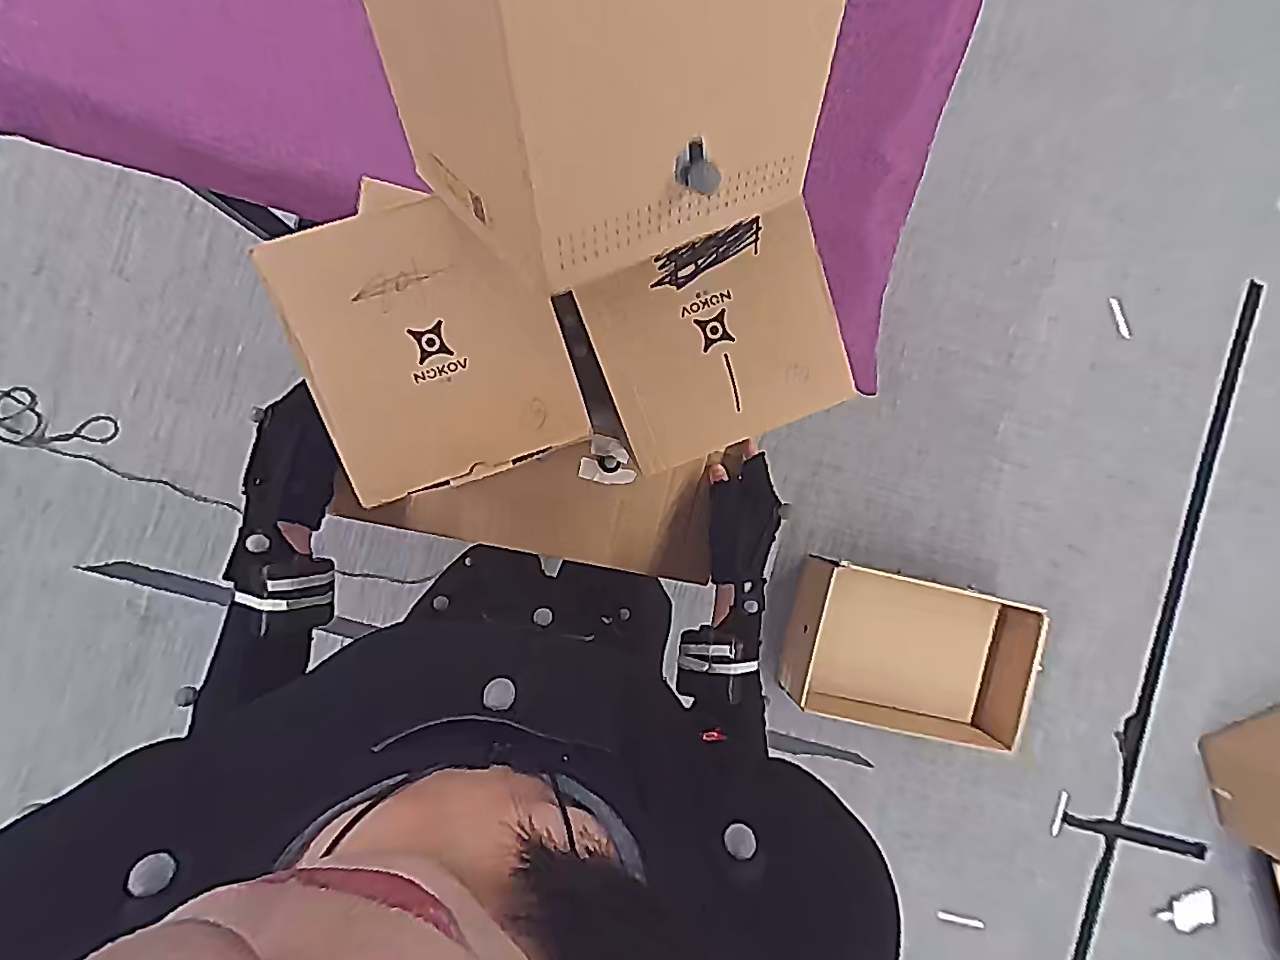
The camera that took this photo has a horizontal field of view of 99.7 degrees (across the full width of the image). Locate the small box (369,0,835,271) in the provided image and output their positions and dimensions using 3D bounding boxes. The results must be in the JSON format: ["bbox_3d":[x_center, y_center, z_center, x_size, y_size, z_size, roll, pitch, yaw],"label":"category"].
[{"bbox_3d":[-0.024,-0.230,0.256,0.179,0.176,0.168,-28,56,-21],"label":"small box"}]

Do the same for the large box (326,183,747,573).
[{"bbox_3d":[-0.100,-0.108,0.670,0.408,0.320,0.320,11,101,-9],"label":"large box"}]

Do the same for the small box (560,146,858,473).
[{"bbox_3d":[0.039,-0.123,0.432,0.168,0.176,0.179,-21,102,-1],"label":"small box"}]
